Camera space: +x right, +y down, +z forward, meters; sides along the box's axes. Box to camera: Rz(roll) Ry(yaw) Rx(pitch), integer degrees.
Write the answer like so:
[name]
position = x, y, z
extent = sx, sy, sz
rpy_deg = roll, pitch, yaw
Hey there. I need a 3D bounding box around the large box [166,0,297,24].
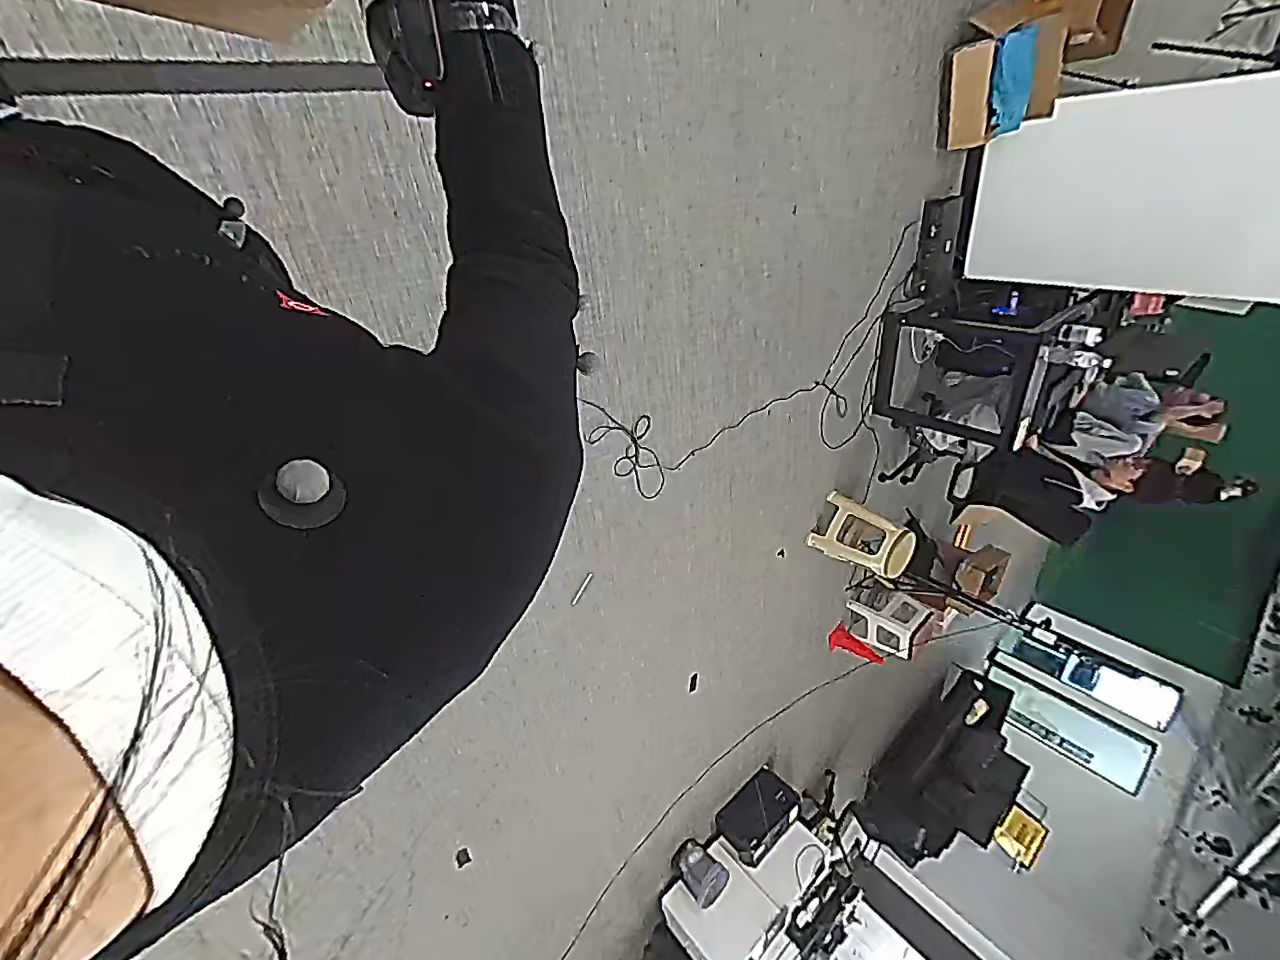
[large box]
position = -0.392, -0.459, 0.229
extent = 0.408, 0.320, 0.320
rpy_deg = -16, 125, -36
